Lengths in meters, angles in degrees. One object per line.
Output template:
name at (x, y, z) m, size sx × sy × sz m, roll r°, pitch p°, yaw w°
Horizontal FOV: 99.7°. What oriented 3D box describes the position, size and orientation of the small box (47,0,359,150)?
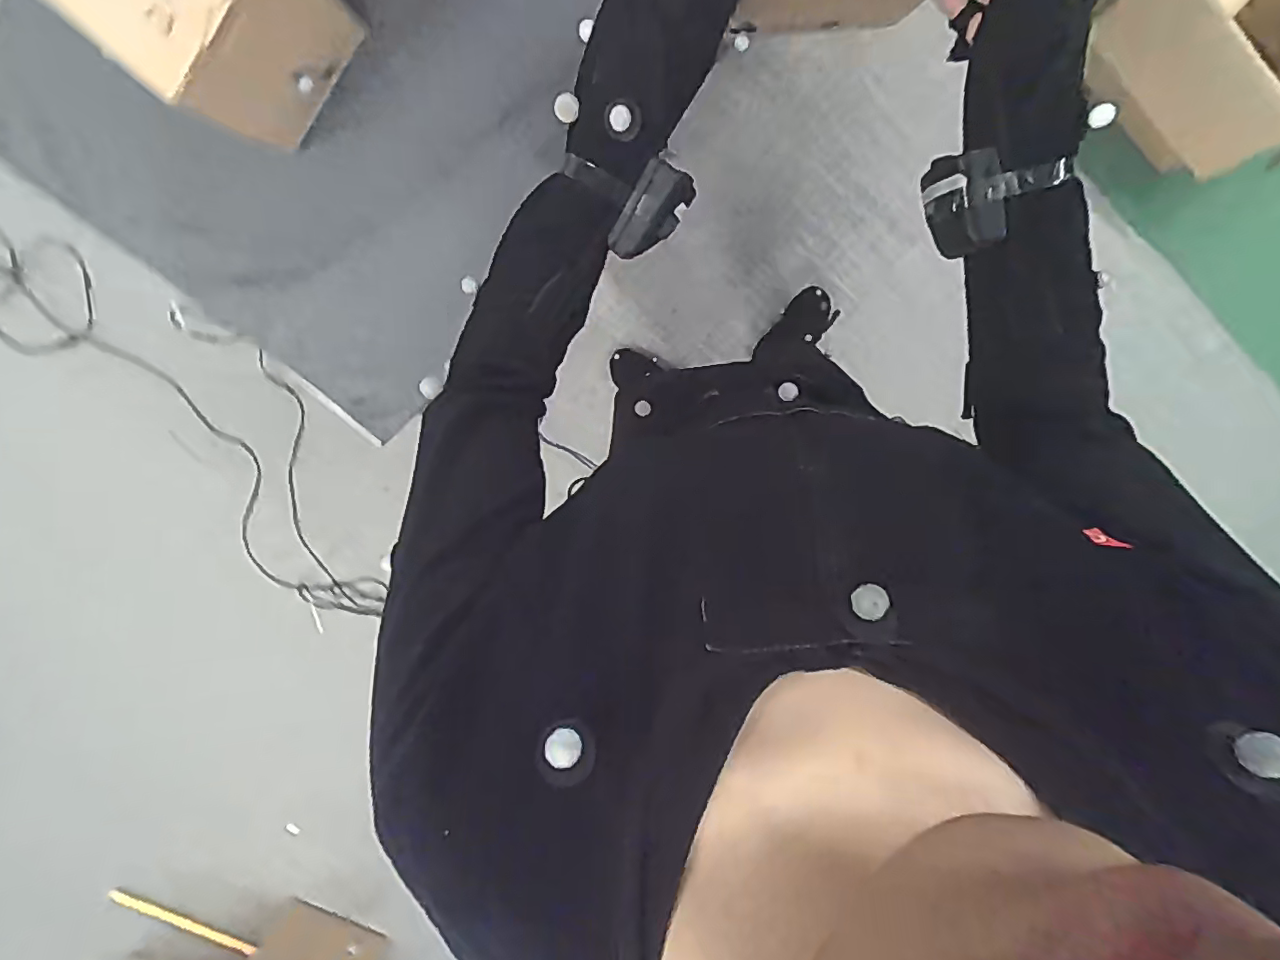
small box at (-0.423, -0.465, 0.525) m, size 0.179 × 0.176 × 0.168 m, roll 40°, pitch 104°, yaw -10°
